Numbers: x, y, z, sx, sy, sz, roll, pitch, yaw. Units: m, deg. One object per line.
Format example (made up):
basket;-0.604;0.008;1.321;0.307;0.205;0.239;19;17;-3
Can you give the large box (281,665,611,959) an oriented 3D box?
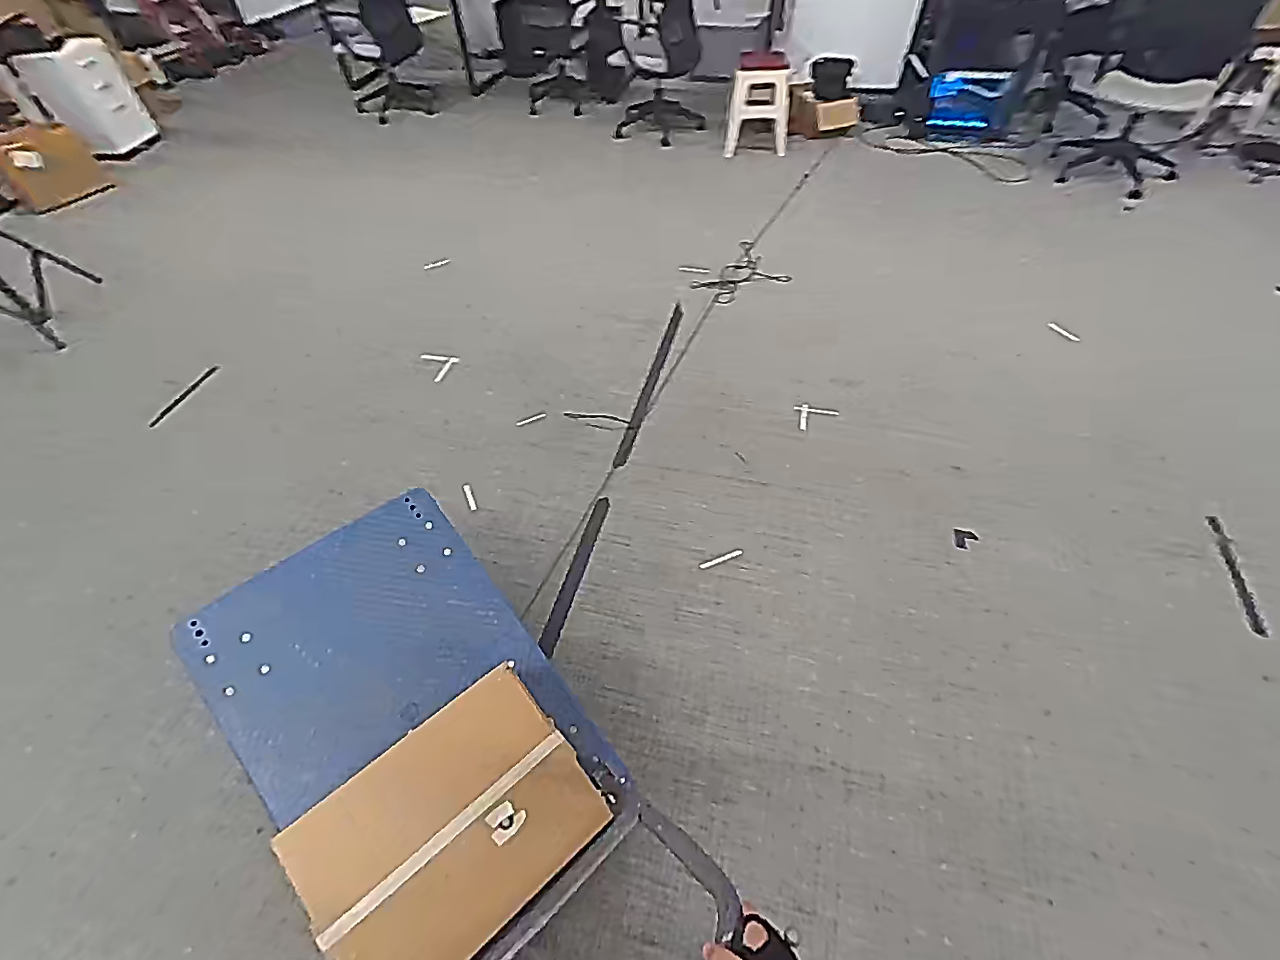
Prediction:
large box;-0.319;0.603;0.973;0.408;0.320;0.320;-35;79;-25
